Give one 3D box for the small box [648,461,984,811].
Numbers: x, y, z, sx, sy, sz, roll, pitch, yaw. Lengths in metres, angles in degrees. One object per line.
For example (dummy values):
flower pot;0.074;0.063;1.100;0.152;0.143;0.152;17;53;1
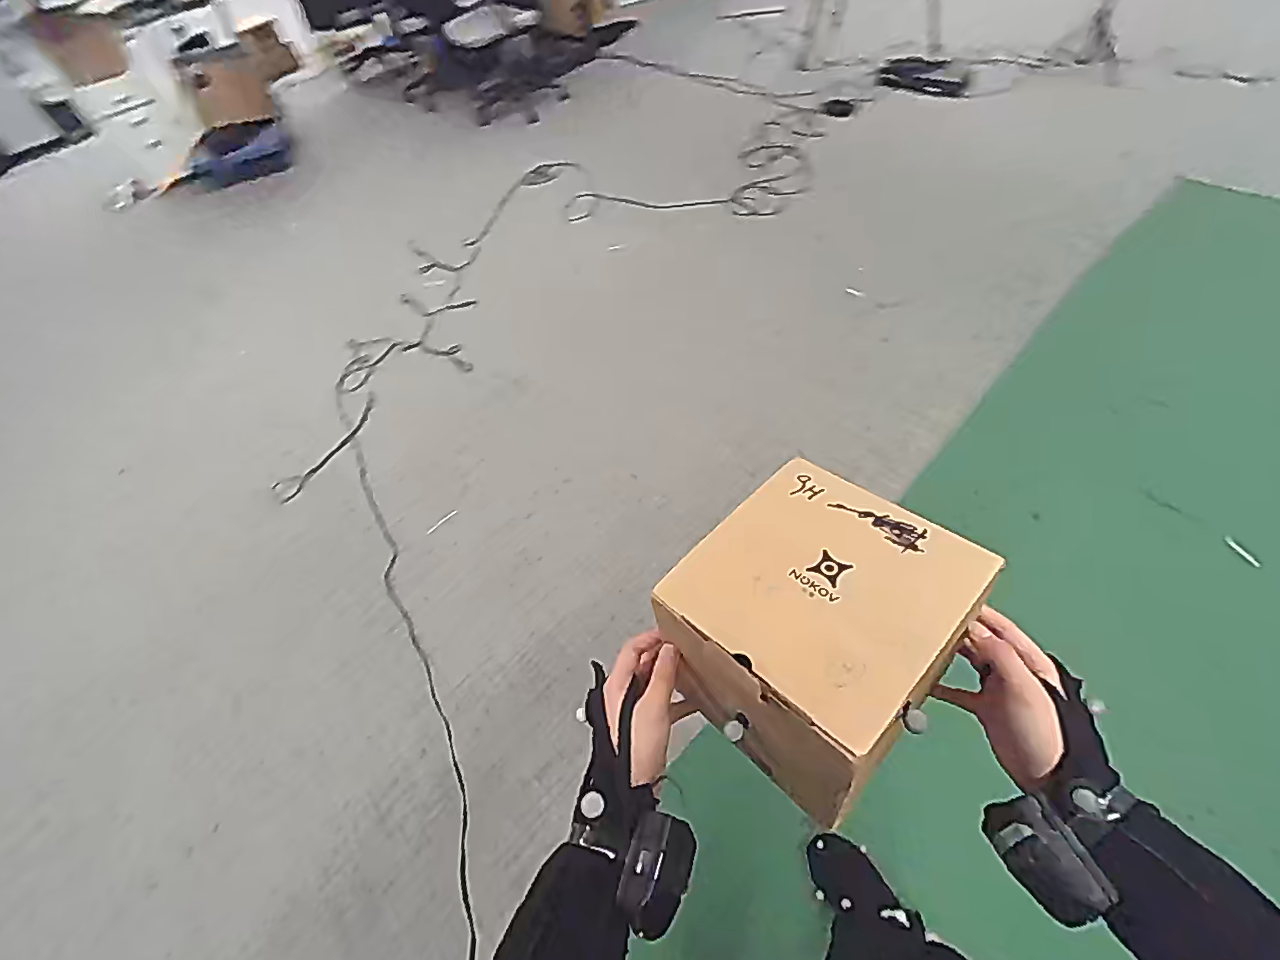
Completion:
small box;0.134;0.123;0.436;0.179;0.176;0.168;-40;51;-23
